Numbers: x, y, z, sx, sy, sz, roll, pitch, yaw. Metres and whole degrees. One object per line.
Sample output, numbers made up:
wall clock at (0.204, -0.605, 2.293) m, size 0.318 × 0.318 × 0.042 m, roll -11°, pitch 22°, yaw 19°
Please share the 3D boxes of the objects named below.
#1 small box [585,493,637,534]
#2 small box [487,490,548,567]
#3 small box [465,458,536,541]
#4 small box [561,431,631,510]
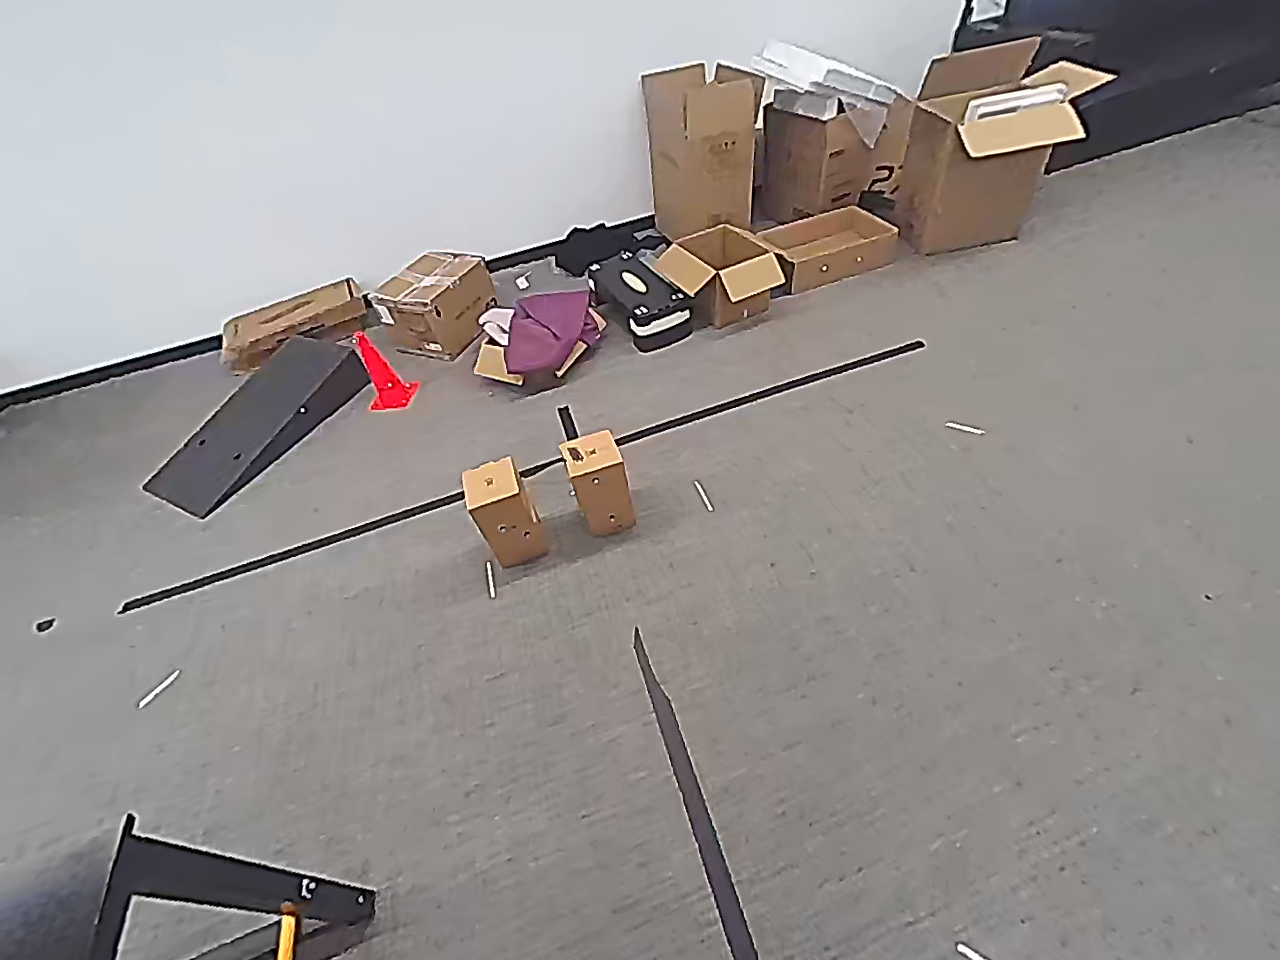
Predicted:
small box at (-0.117, 0.071, 1.907) m, size 0.168 × 0.176 × 0.179 m, roll -17°, pitch 48°, yaw -6°
small box at (-0.427, 0.170, 1.870) m, size 0.179 × 0.176 × 0.168 m, roll -20°, pitch 47°, yaw -7°
small box at (-0.450, 0.065, 1.748) m, size 0.168 × 0.176 × 0.179 m, roll -20°, pitch 48°, yaw -6°
small box at (-0.143, -0.026, 1.774) m, size 0.179 × 0.176 × 0.168 m, roll -18°, pitch 47°, yaw -8°
